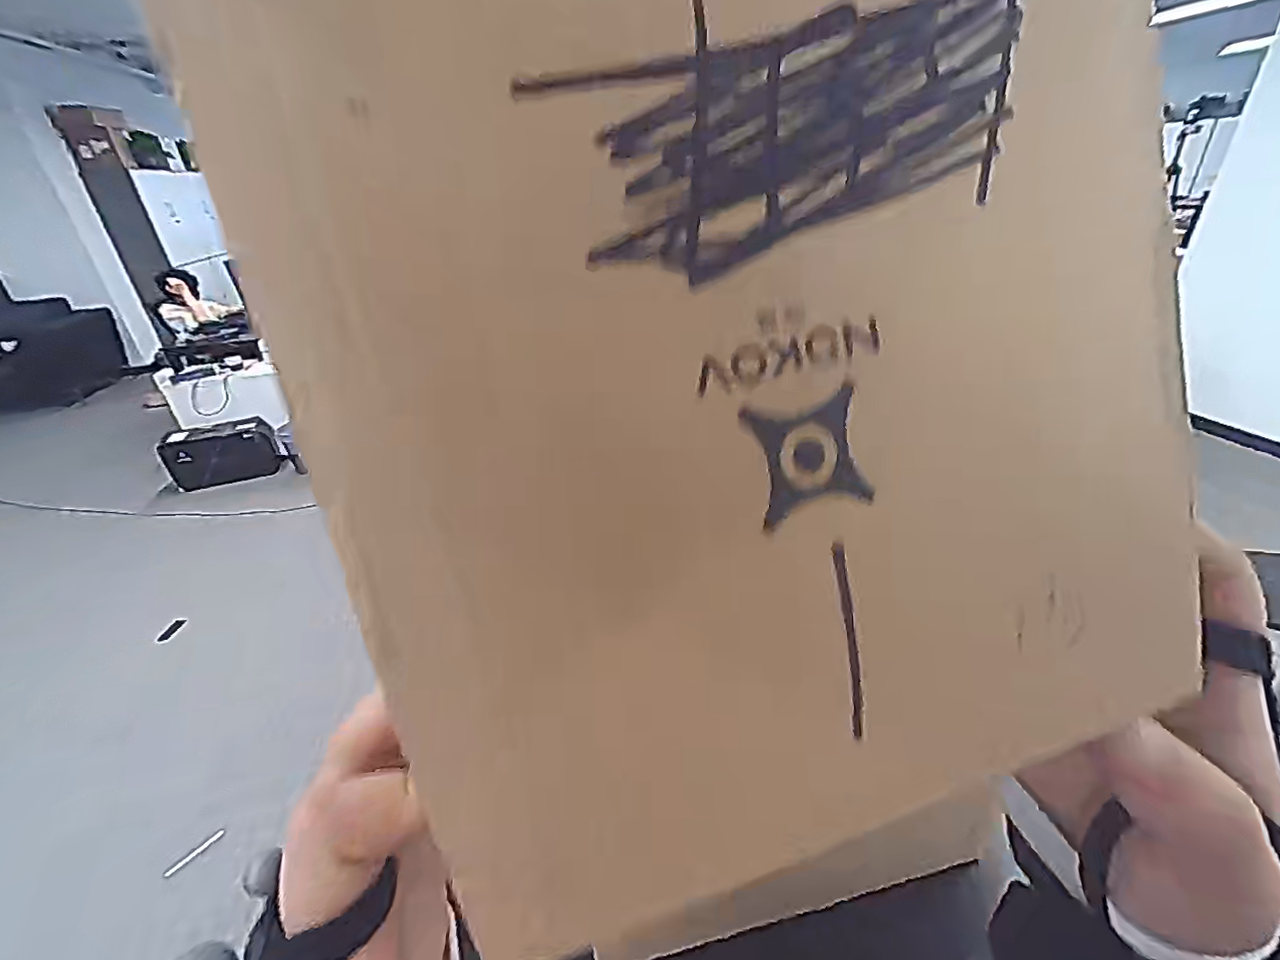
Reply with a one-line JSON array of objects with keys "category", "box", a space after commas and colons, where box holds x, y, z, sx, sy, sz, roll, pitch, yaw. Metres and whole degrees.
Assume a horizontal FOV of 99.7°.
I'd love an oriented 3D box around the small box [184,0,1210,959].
[{"category": "small box", "box": [0.016, -0.013, 0.177, 0.168, 0.179, 0.176, -15, 8, -9]}]
